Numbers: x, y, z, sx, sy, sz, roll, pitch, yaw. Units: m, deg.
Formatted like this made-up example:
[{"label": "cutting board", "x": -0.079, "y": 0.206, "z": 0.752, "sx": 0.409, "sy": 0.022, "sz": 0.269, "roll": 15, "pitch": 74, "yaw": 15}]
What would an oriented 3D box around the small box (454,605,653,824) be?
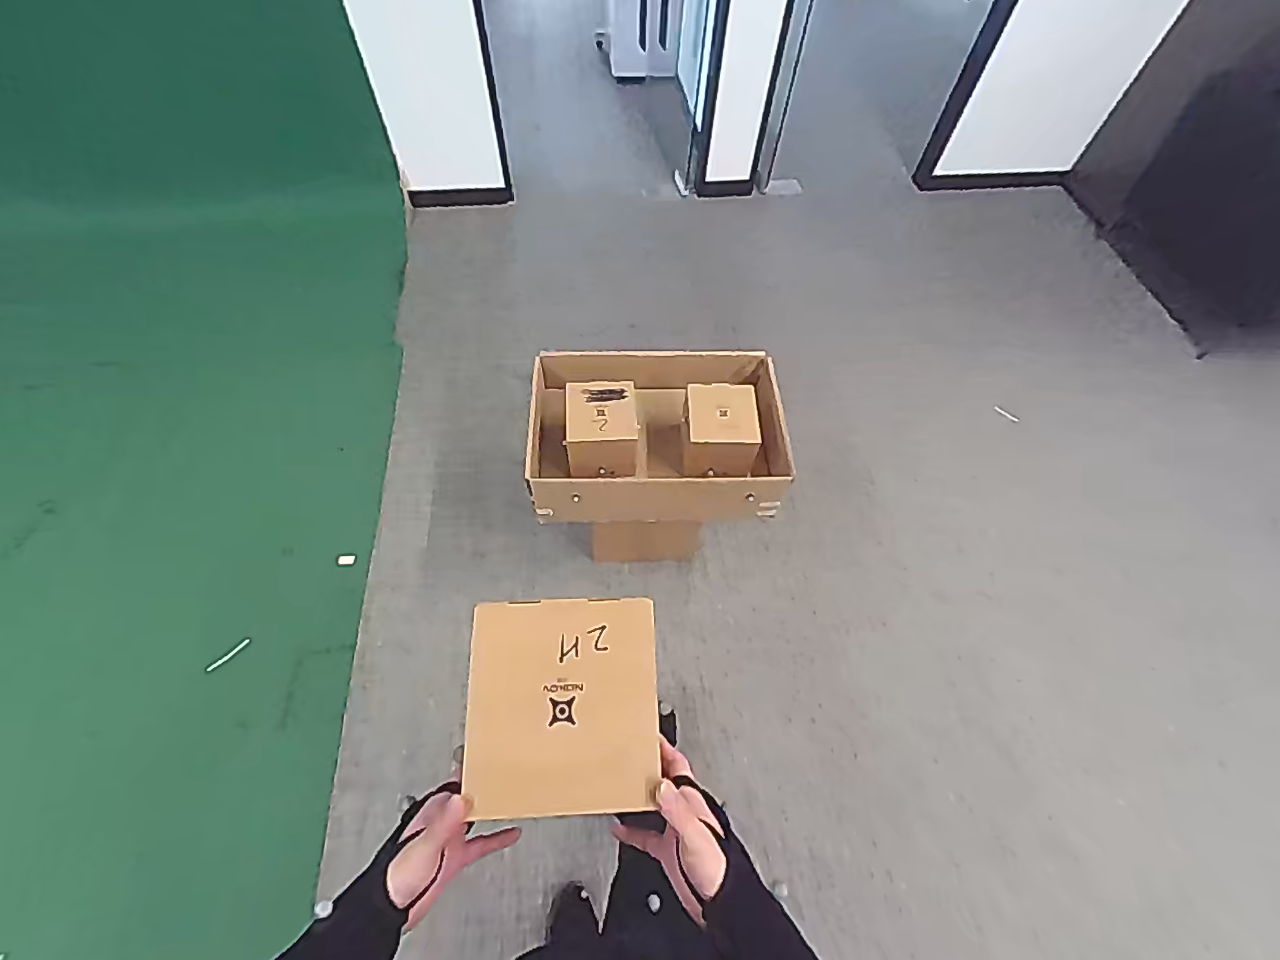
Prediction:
[{"label": "small box", "x": -0.075, "y": 0.228, "z": 0.544, "sx": 0.168, "sy": 0.176, "sz": 0.179, "roll": 0, "pitch": 66, "yaw": -4}]
